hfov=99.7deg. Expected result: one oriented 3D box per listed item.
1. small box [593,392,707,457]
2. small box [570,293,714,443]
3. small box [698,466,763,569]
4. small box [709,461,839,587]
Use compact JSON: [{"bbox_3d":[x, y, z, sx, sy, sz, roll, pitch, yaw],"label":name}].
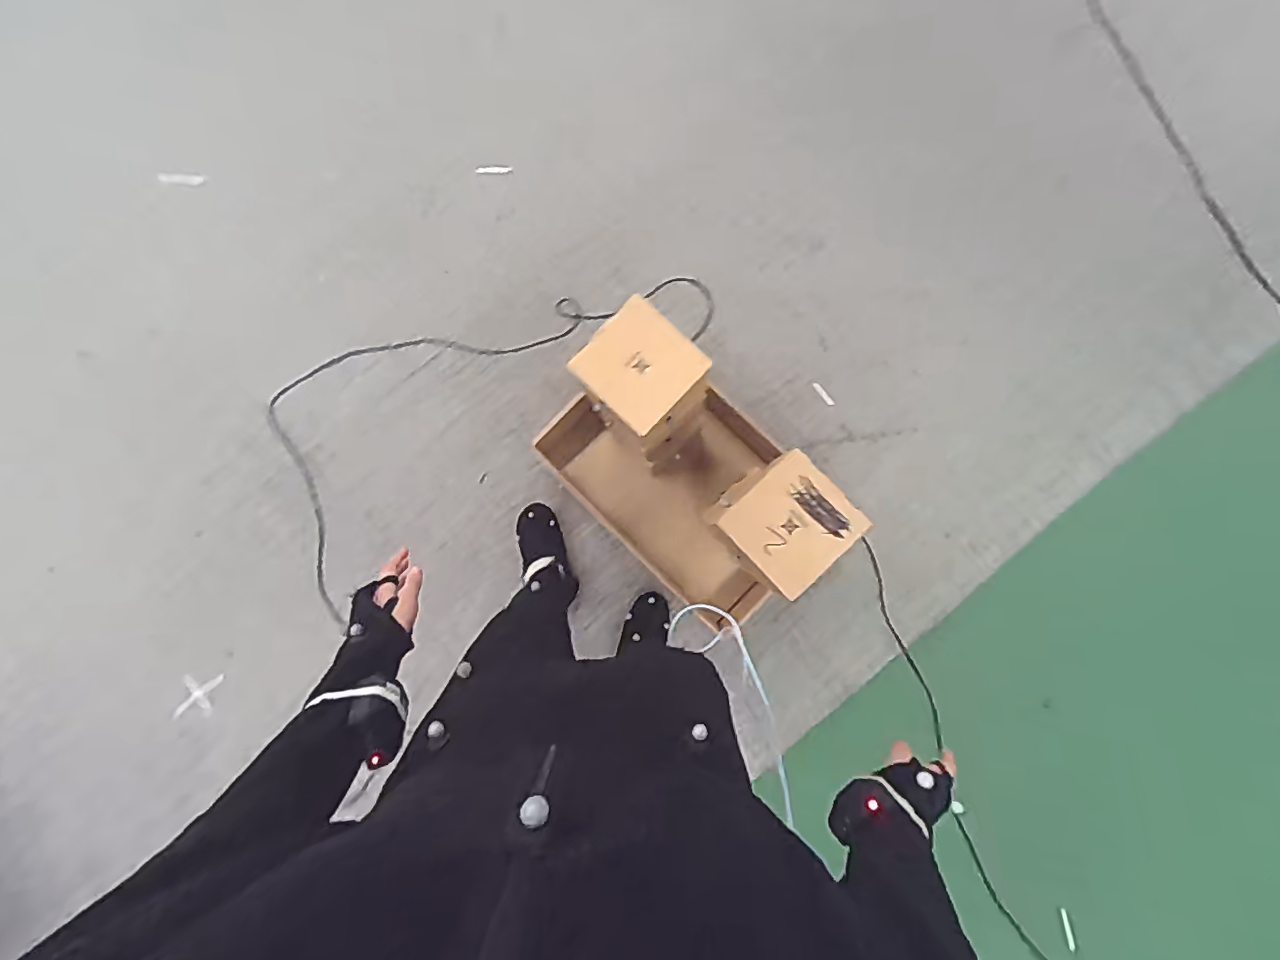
[{"bbox_3d":[0.014,-0.165,1.102,0.168,0.176,0.179,-40,85,-1],"label":"small box"},{"bbox_3d":[0.008,-0.181,0.941,0.179,0.176,0.168,44,89,6],"label":"small box"},{"bbox_3d":[0.248,0.095,1.230,0.168,0.176,0.179,-40,84,-3],"label":"small box"},{"bbox_3d":[0.251,0.089,1.065,0.179,0.176,0.168,-40,85,-3],"label":"small box"}]
